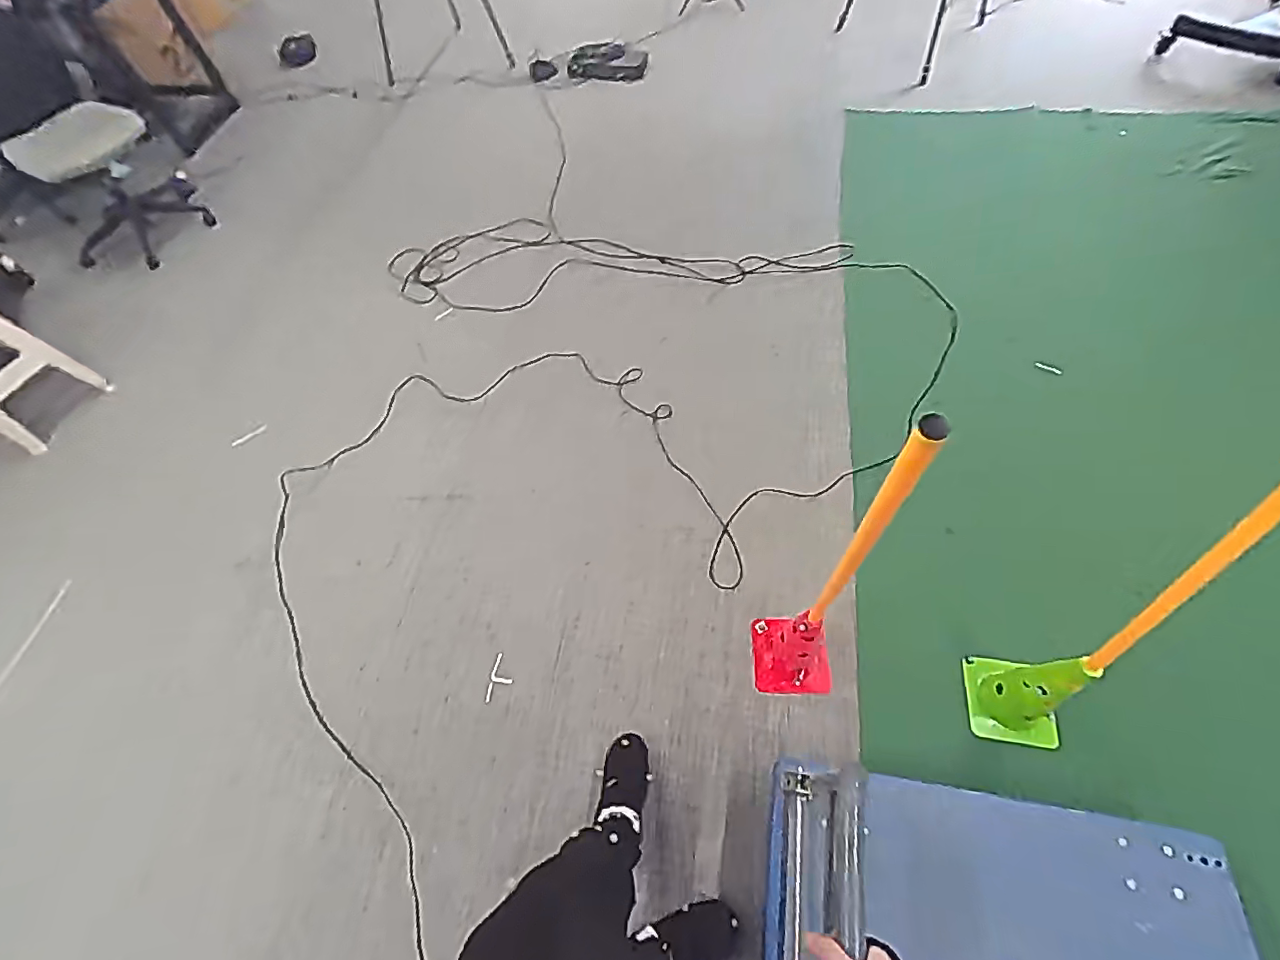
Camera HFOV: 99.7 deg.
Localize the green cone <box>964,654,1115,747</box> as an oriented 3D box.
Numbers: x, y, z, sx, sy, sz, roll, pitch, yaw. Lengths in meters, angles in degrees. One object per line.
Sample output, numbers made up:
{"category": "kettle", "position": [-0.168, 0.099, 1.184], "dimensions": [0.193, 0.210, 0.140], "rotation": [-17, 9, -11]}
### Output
{"category": "green cone", "position": [0.924, 0.463, 1.220], "dimensions": [0.202, 0.368, 0.200], "rotation": [6, 59, 8]}
